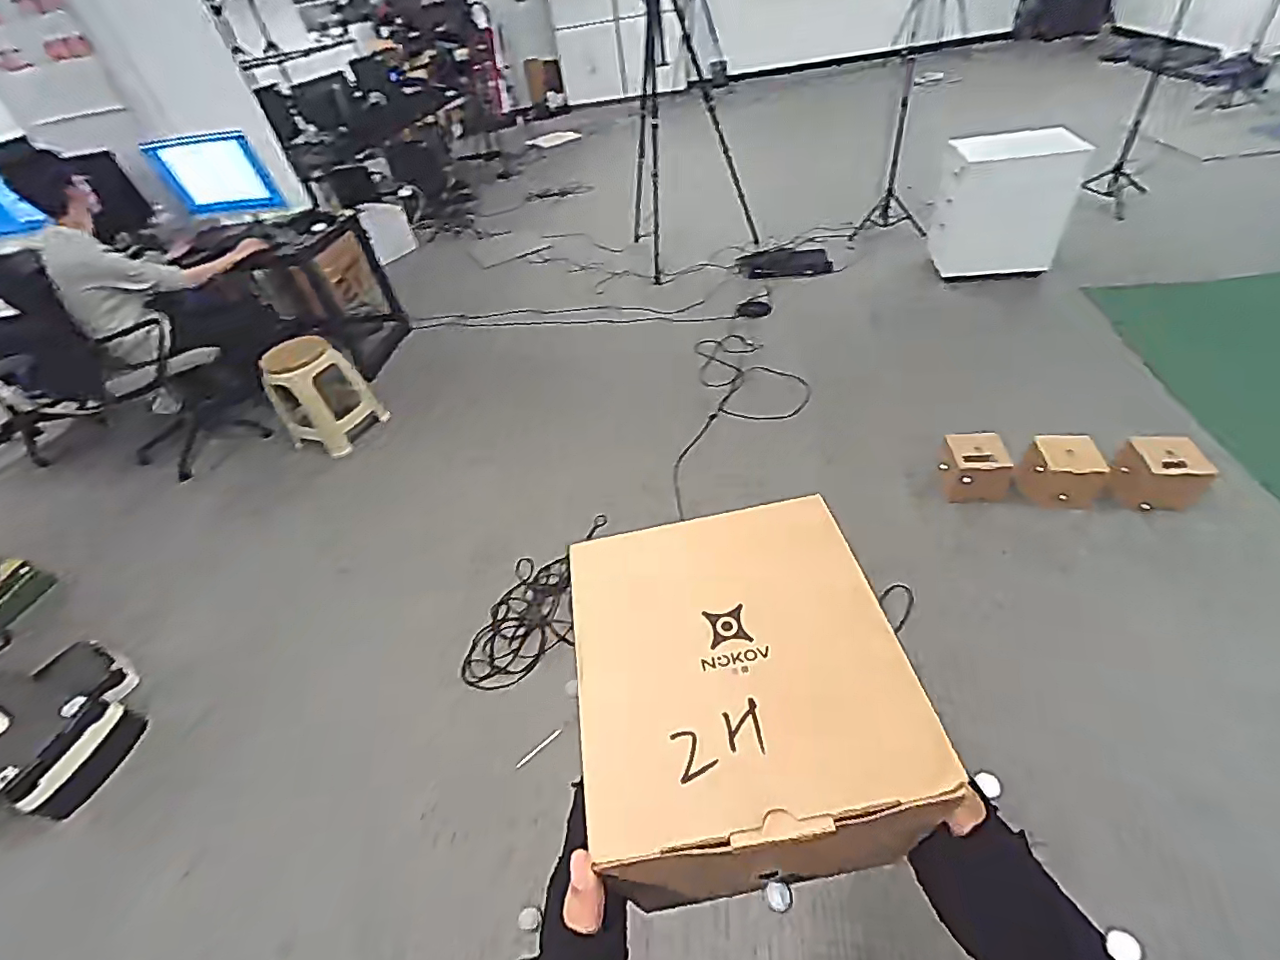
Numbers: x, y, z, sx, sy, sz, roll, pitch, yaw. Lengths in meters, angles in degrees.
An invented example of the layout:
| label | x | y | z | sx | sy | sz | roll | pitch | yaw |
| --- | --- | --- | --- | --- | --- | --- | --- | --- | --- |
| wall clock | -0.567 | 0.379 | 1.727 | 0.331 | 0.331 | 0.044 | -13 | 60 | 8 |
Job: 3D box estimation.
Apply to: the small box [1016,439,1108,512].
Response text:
| label | x | y | z | sx | sy | sz | roll | pitch | yaw |
| --- | --- | --- | --- | --- | --- | --- | --- | --- | --- |
| small box | 1.393 | -0.016 | 1.803 | 0.168 | 0.176 | 0.179 | 1 | 45 | 12 |

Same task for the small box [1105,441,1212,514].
| label | x | y | z | sx | sy | sz | roll | pitch | yaw |
| --- | --- | --- | --- | --- | --- | --- | --- | --- | --- |
| small box | 1.655 | -0.006 | 1.740 | 0.168 | 0.176 | 0.179 | 1 | 44 | 12 |
